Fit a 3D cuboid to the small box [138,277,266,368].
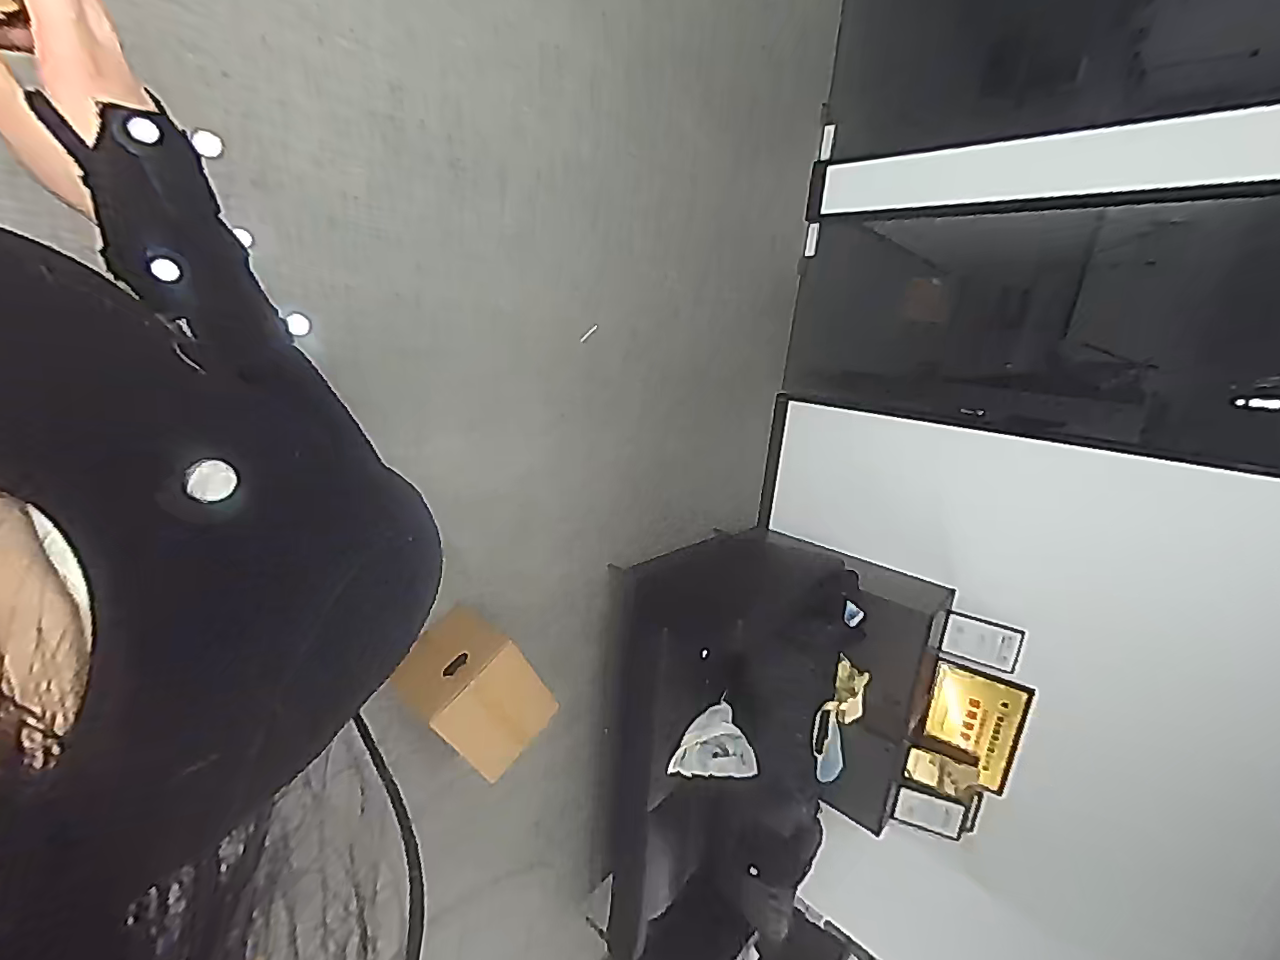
[{"bbox_3d":[-0.903,-0.322,1.114,0.179,0.176,0.168,-13,115,-46],"label":"small box"}]
